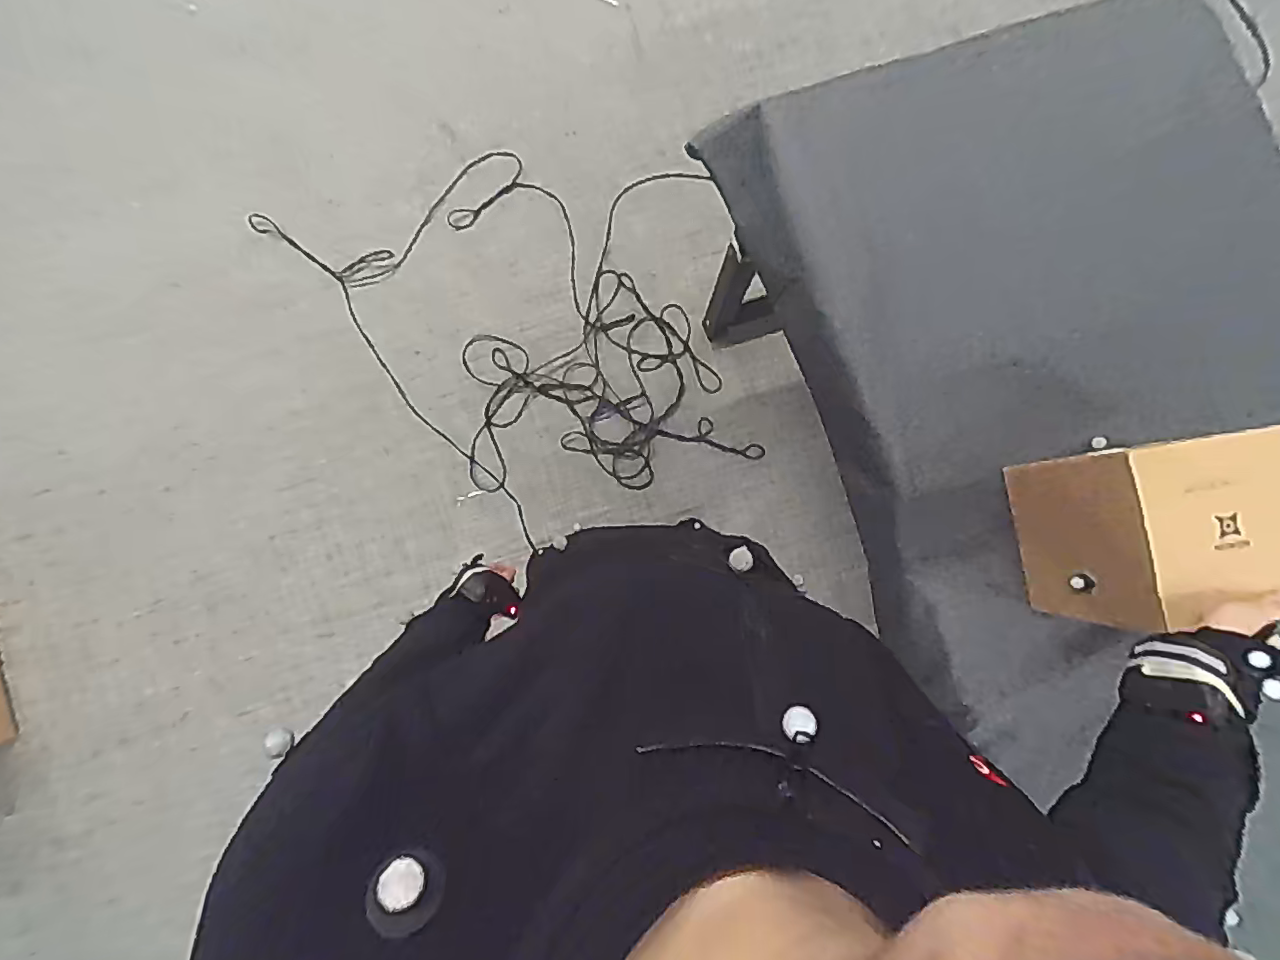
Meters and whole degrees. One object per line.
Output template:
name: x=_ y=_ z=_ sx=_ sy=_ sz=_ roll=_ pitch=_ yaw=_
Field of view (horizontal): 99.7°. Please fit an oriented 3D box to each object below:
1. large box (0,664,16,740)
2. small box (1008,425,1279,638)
large box: x=-1.717 y=0.468 z=1.178 sx=0.320 sy=0.320 sz=0.408 roll=-18 pitch=85 yaw=-3
small box: x=0.539 y=0.051 z=0.576 sx=0.168 sy=0.176 sz=0.179 roll=-10 pitch=85 yaw=-3
